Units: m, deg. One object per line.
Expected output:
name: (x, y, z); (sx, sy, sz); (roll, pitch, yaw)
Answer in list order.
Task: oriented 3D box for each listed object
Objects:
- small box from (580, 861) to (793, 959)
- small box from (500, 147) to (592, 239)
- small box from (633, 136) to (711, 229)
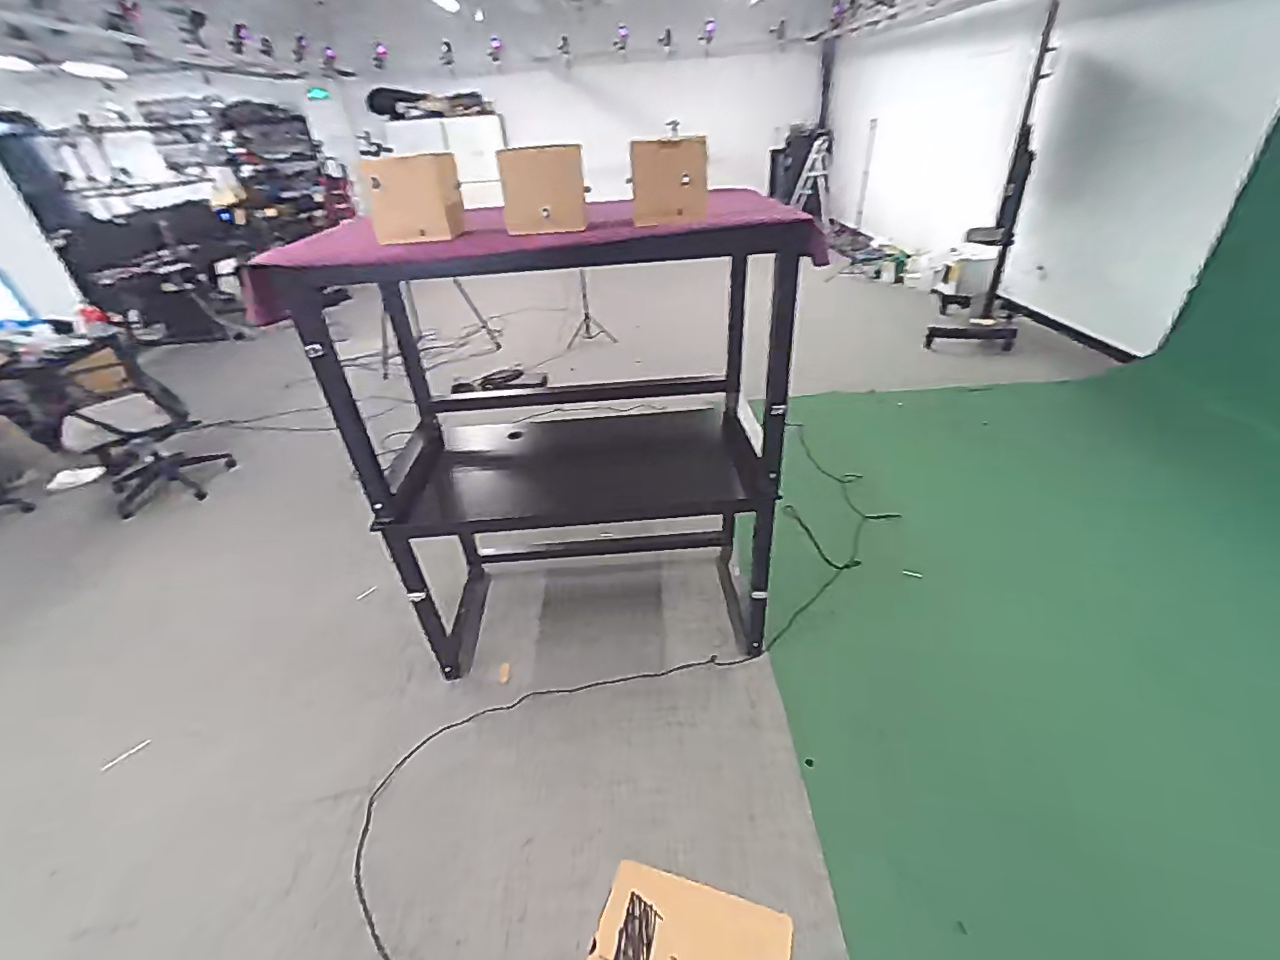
small box: (0.036, 0.500, 0.485); (0.179, 0.176, 0.168); (5, 24, 20)
small box: (-0.204, -0.655, 1.231); (0.179, 0.176, 0.168); (-4, 32, 0)
small box: (0.075, -0.674, 1.230); (0.168, 0.176, 0.179); (-2, 33, 4)
